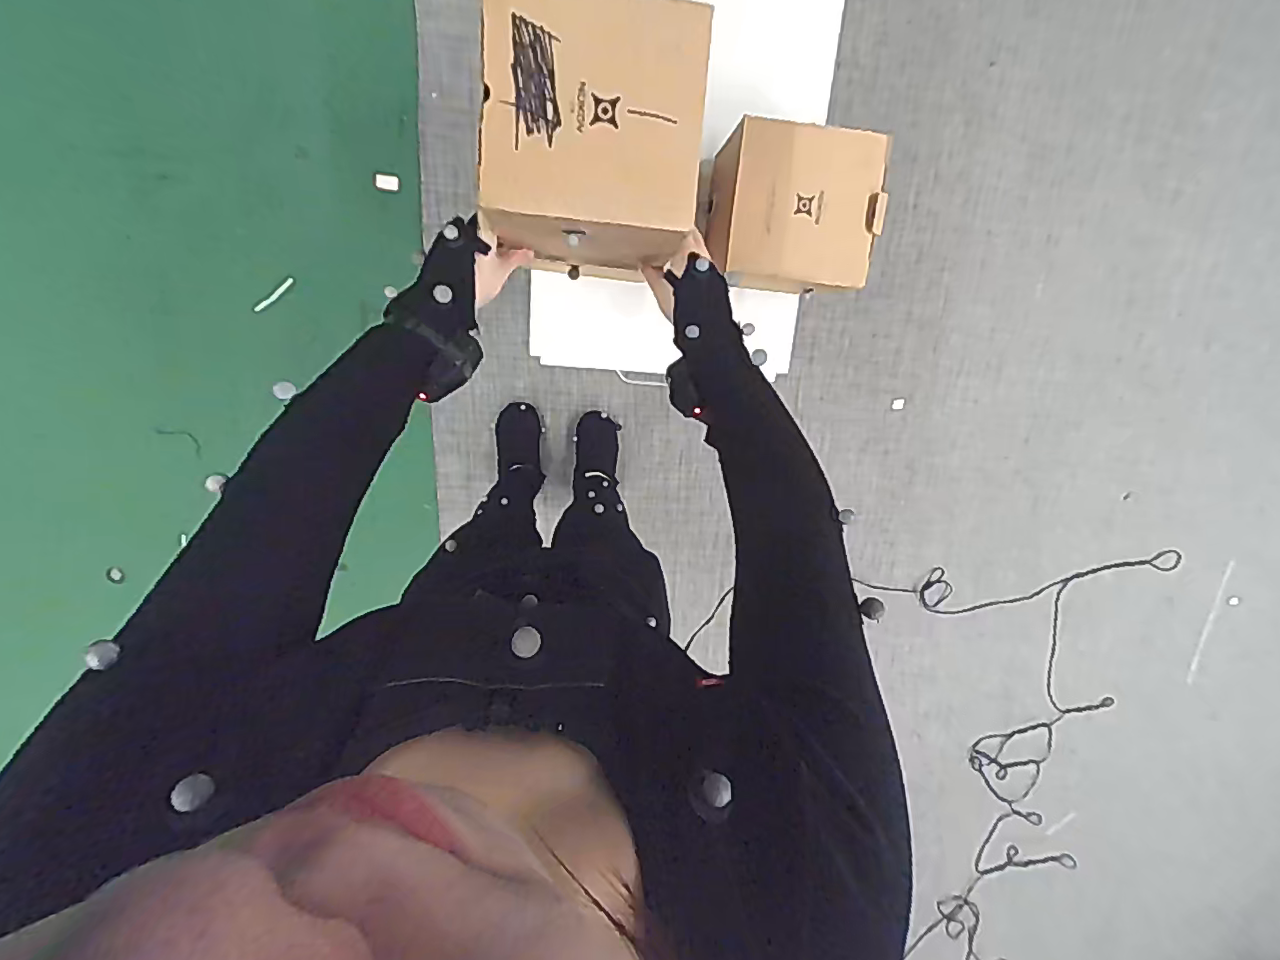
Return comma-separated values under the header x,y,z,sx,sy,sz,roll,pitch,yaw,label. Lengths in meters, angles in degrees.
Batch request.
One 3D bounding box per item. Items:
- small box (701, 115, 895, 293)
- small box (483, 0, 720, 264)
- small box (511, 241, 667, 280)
x,y,z,sx,sy,sz,roll,pitch,yaw,label
0.187,-0.336,0.694,0.179,0.176,0.168,4,106,-5,small box
-0.039,-0.304,0.497,0.179,0.176,0.168,3,103,-7,small box
-0.056,-0.343,0.662,0.179,0.176,0.168,4,107,-8,small box
